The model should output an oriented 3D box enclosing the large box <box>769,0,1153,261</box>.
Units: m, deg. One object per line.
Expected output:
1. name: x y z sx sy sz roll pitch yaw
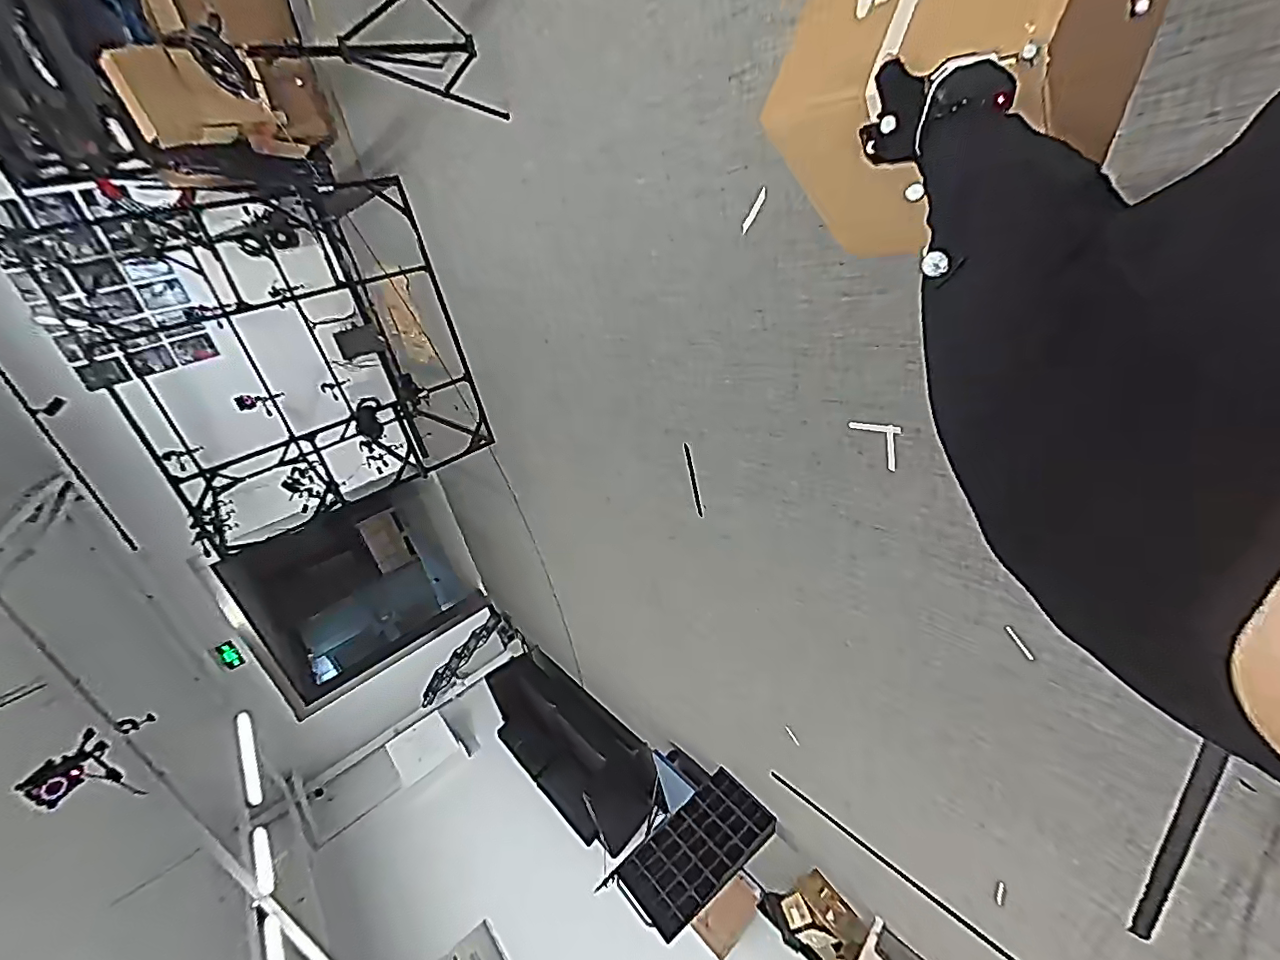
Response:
1. large box: 0.435 -0.560 0.719 0.320 0.320 0.408 20 88 45
